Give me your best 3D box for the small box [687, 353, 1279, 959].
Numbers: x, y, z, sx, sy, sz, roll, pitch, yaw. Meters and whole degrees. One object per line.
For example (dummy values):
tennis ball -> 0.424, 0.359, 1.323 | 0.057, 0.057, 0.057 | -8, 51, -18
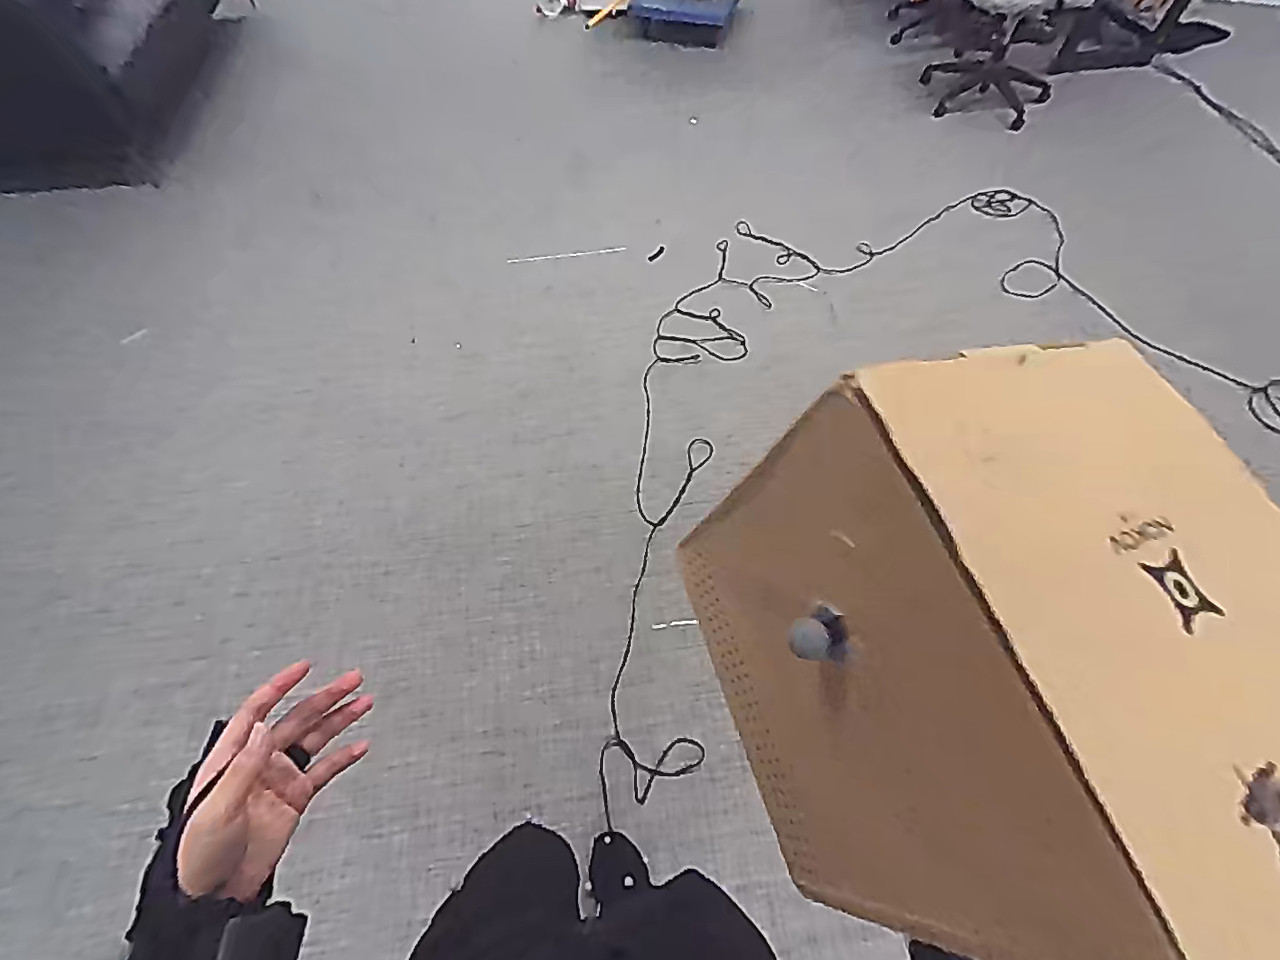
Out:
small box -> 0.143, 0.067, 0.251 | 0.168, 0.176, 0.179 | -12, 66, -23
